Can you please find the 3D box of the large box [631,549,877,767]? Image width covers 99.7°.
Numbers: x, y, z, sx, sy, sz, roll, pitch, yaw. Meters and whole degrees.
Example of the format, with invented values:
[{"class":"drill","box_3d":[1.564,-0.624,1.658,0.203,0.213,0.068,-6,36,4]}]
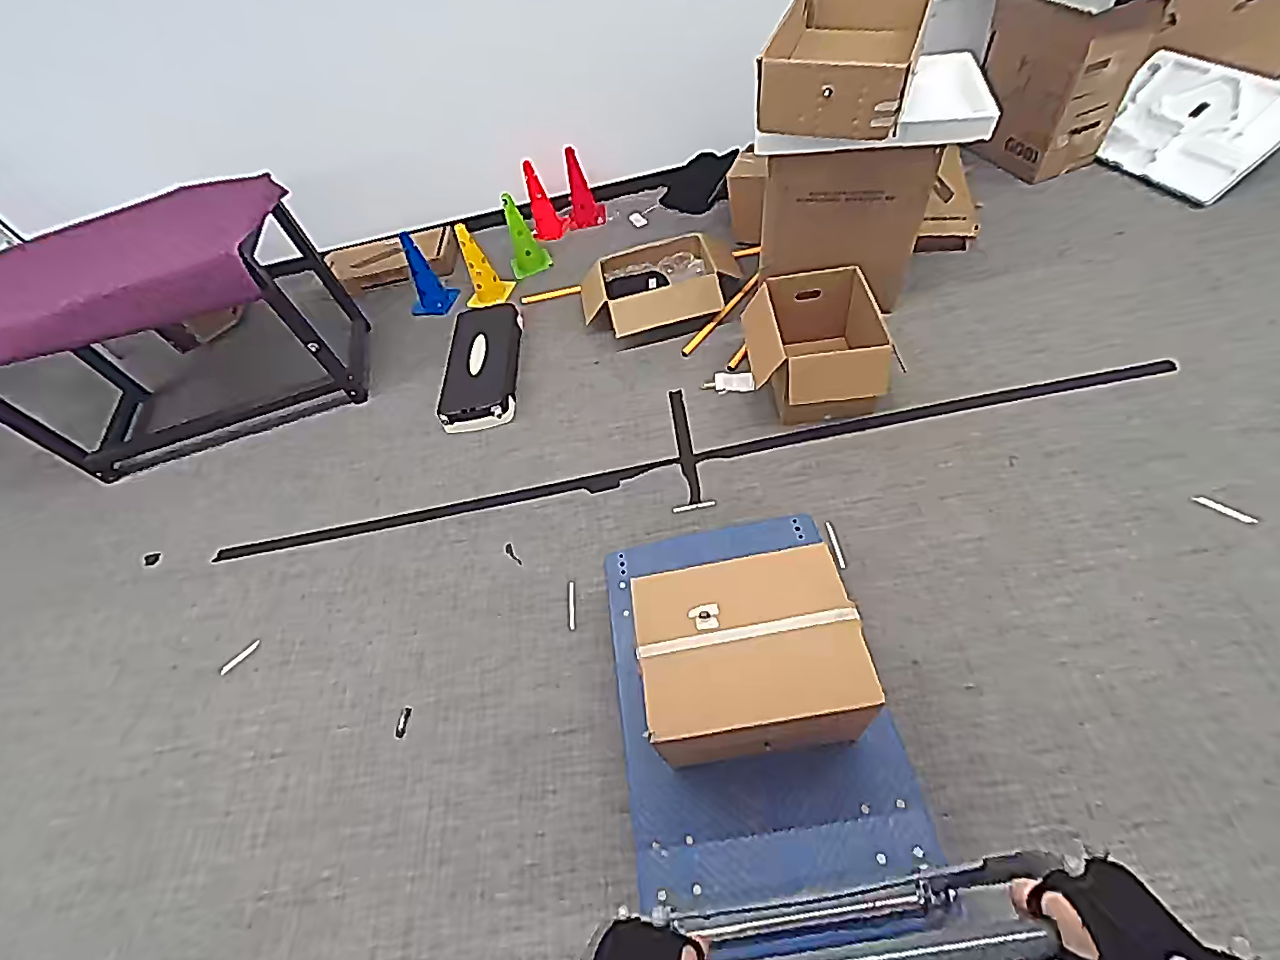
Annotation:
[{"class":"large box","box_3d":[0.222,0.386,1.140,0.408,0.320,0.320,-12,52,4]}]
